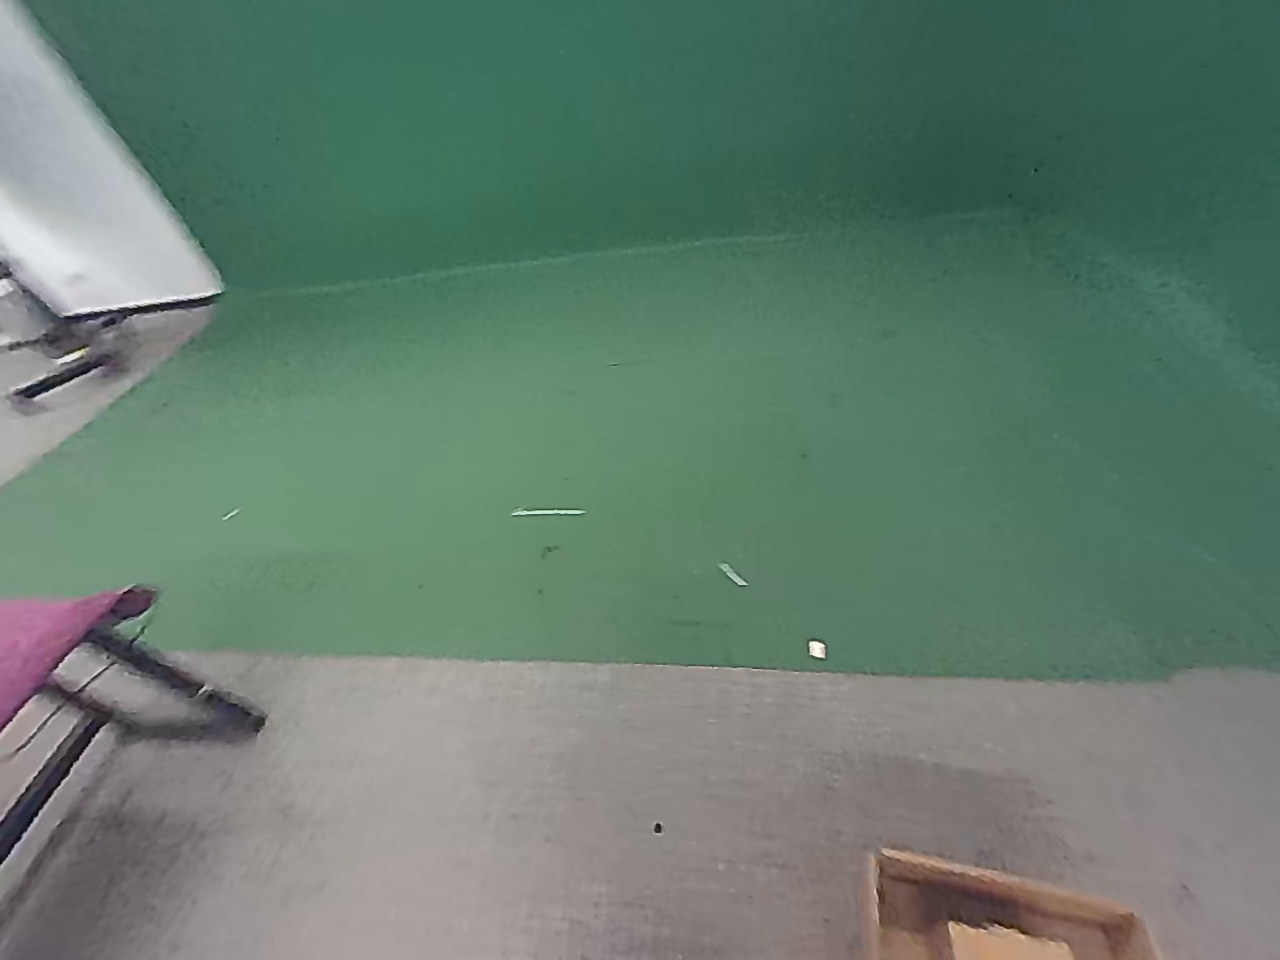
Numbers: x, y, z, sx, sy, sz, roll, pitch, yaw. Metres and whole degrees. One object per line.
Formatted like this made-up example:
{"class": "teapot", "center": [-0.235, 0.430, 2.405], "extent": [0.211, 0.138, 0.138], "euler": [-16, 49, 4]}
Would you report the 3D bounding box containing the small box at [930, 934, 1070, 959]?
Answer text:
{"class": "small box", "center": [0.544, 0.808, 0.795], "extent": [0.168, 0.176, 0.179], "euler": [2, 46, 14]}
